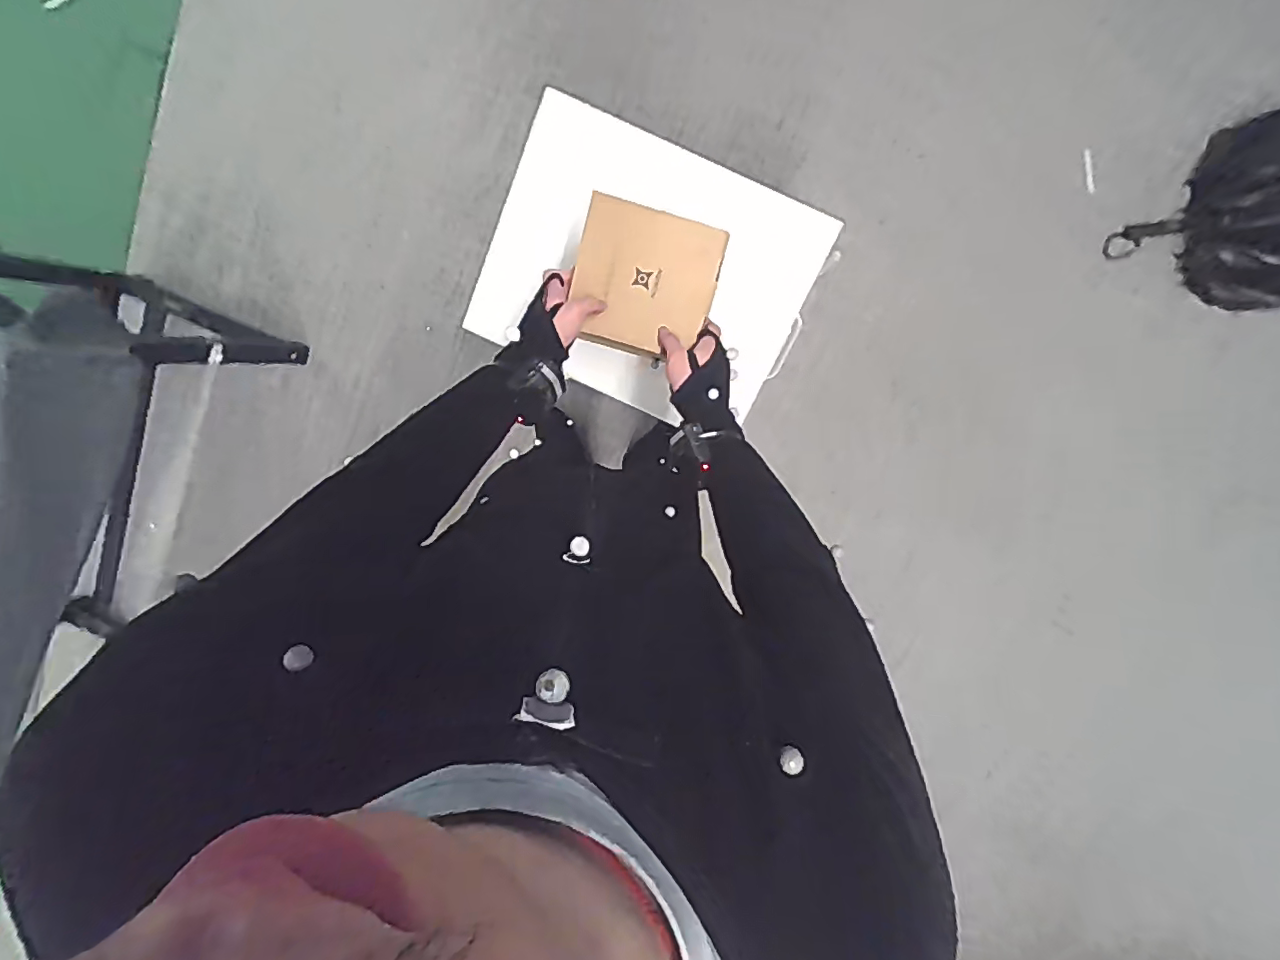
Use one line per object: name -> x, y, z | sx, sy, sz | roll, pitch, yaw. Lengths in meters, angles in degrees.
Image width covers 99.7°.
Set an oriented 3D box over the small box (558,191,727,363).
small box -> 0.001, -0.260, 0.734 | 0.179, 0.176, 0.168 | 14, 99, -3
